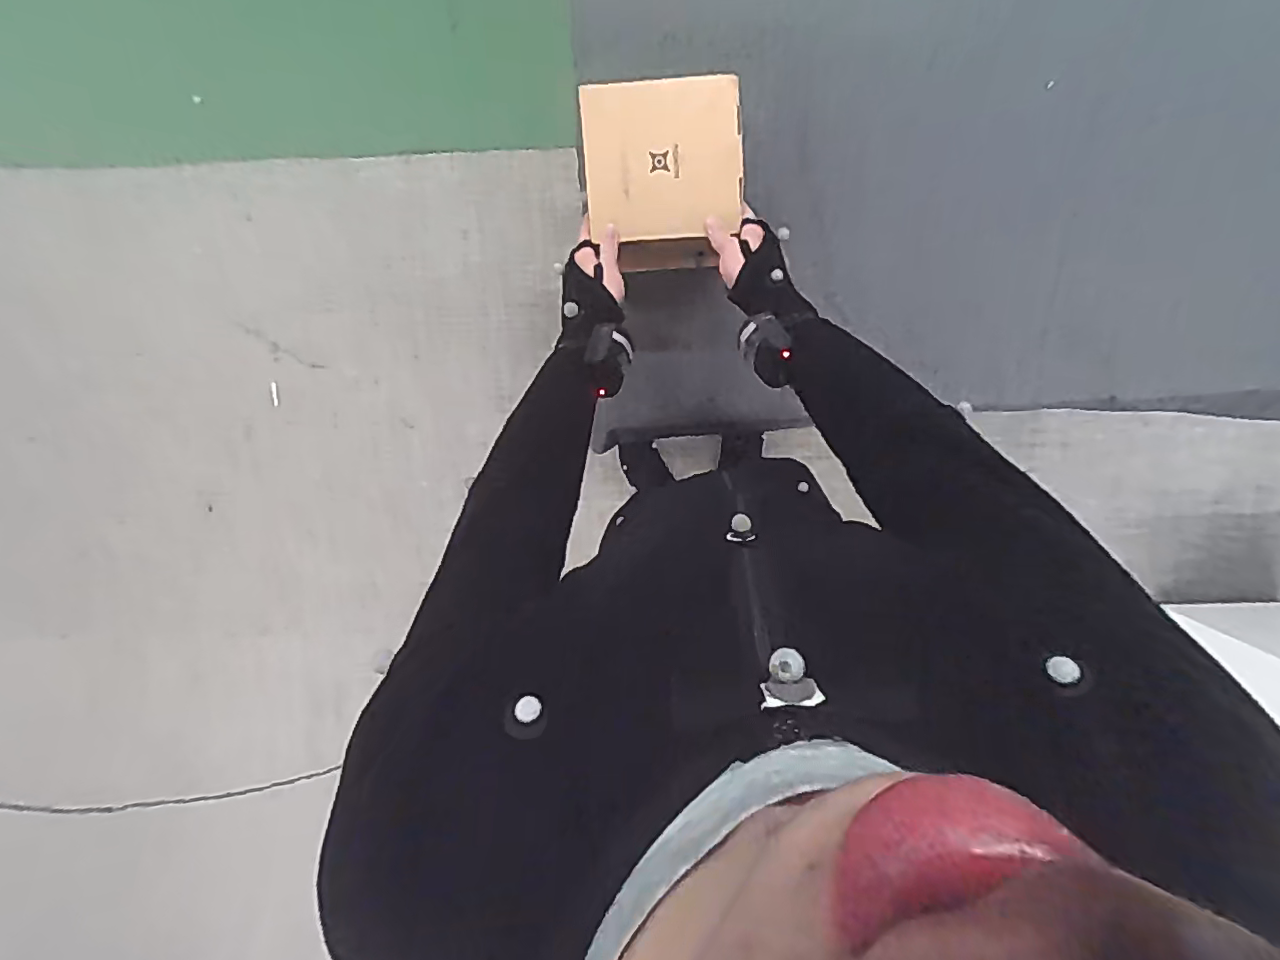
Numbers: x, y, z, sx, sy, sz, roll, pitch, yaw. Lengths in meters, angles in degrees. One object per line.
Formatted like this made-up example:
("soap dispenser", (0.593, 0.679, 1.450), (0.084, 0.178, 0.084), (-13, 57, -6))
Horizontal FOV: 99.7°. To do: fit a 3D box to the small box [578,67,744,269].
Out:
("small box", (0.023, -0.364, 0.661), (0.179, 0.176, 0.168), (-4, 99, 1))
